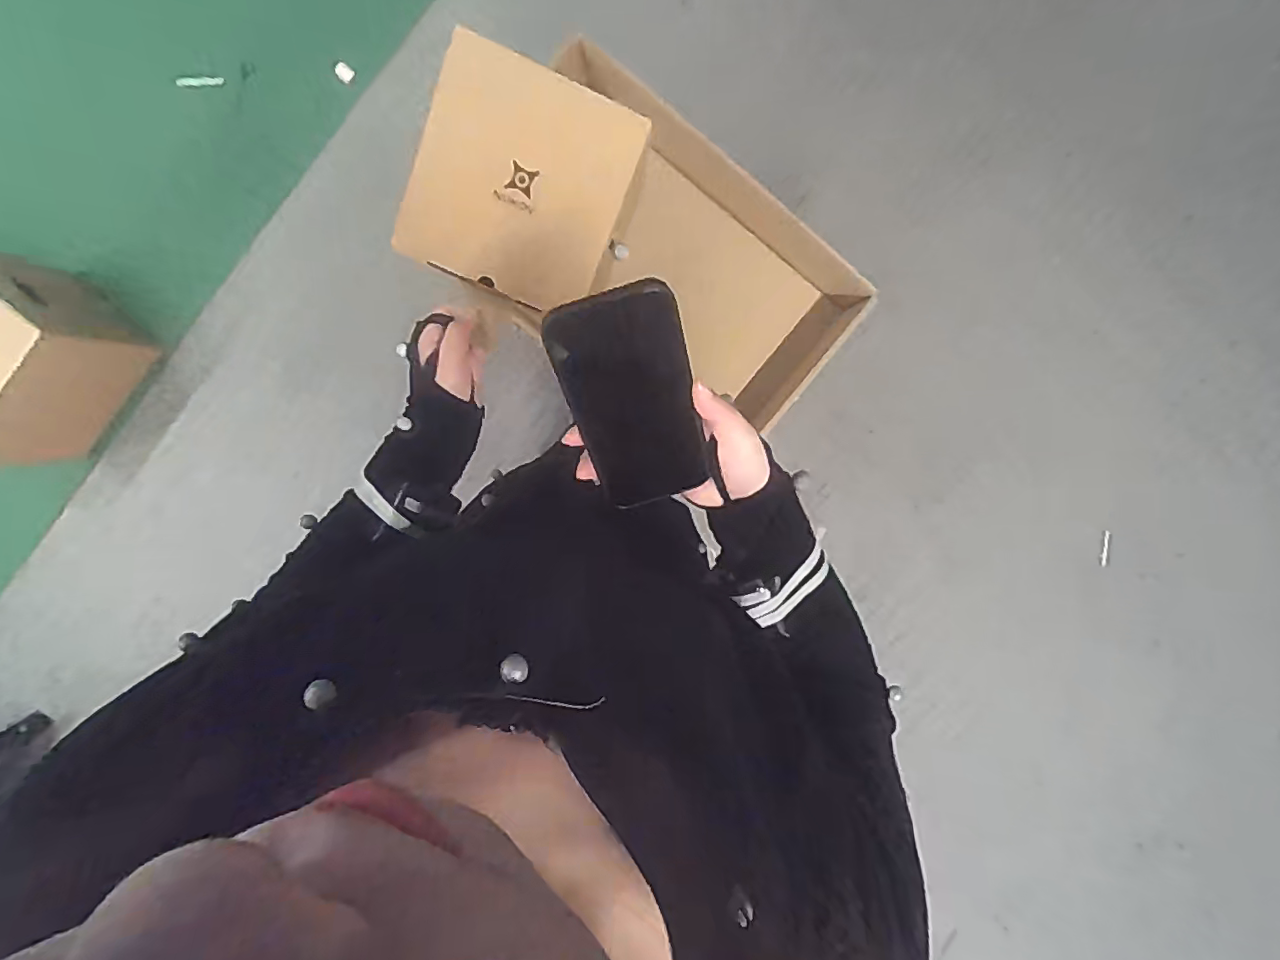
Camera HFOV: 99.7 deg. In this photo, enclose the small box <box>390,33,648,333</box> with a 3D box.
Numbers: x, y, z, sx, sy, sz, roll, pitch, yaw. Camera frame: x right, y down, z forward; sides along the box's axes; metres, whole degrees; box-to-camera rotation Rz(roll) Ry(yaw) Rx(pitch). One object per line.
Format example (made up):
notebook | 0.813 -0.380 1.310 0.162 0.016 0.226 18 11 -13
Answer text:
small box | -0.104 -0.254 0.517 0.168 0.176 0.179 22 103 -7
